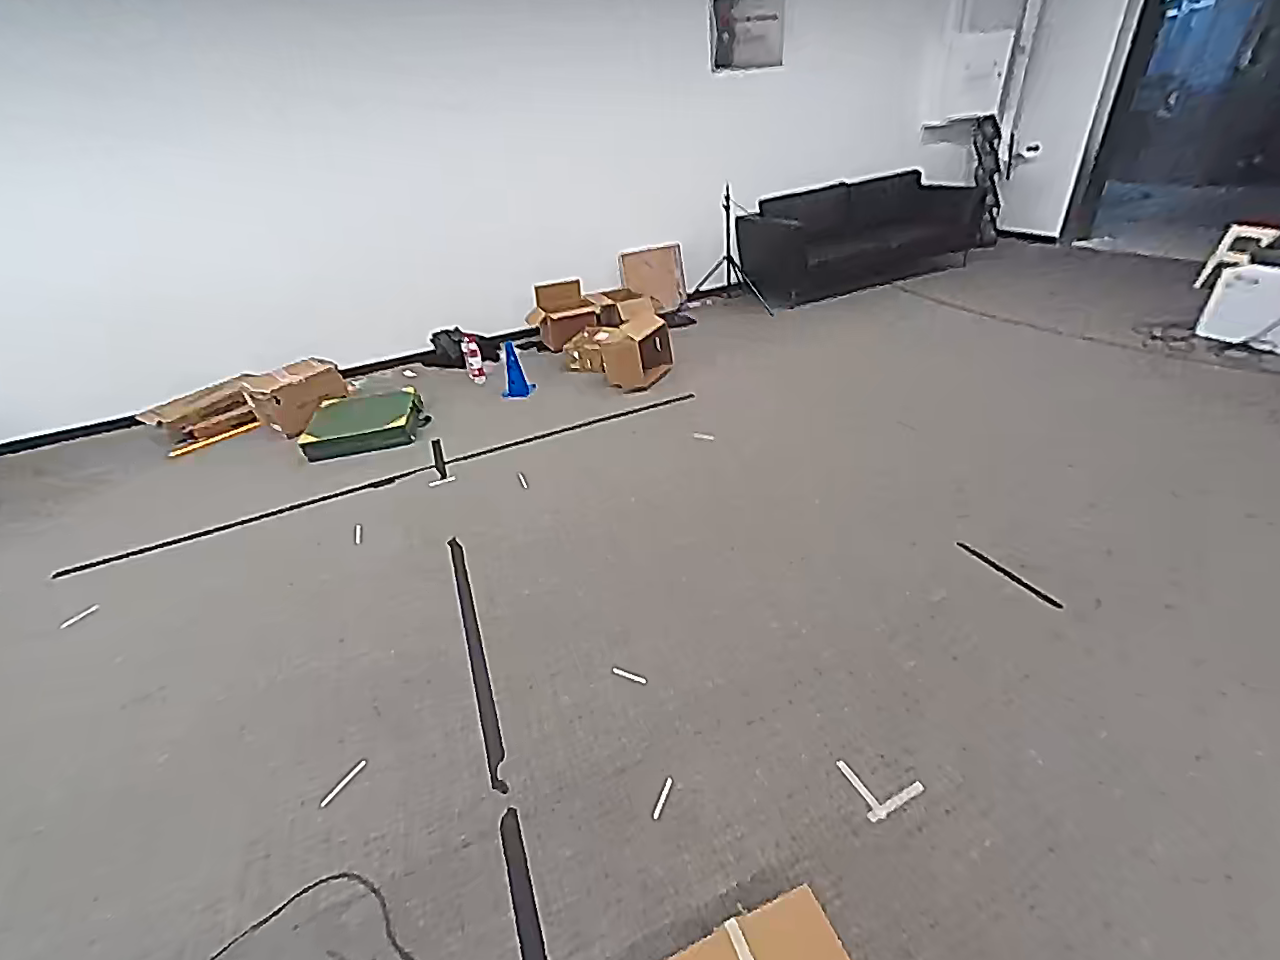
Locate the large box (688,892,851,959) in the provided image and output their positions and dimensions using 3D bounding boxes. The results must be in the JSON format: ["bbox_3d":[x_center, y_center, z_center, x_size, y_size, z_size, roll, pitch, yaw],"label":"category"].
[{"bbox_3d":[0.251,1.000,0.861,0.320,0.320,0.408,-17,35,-15],"label":"large box"}]
